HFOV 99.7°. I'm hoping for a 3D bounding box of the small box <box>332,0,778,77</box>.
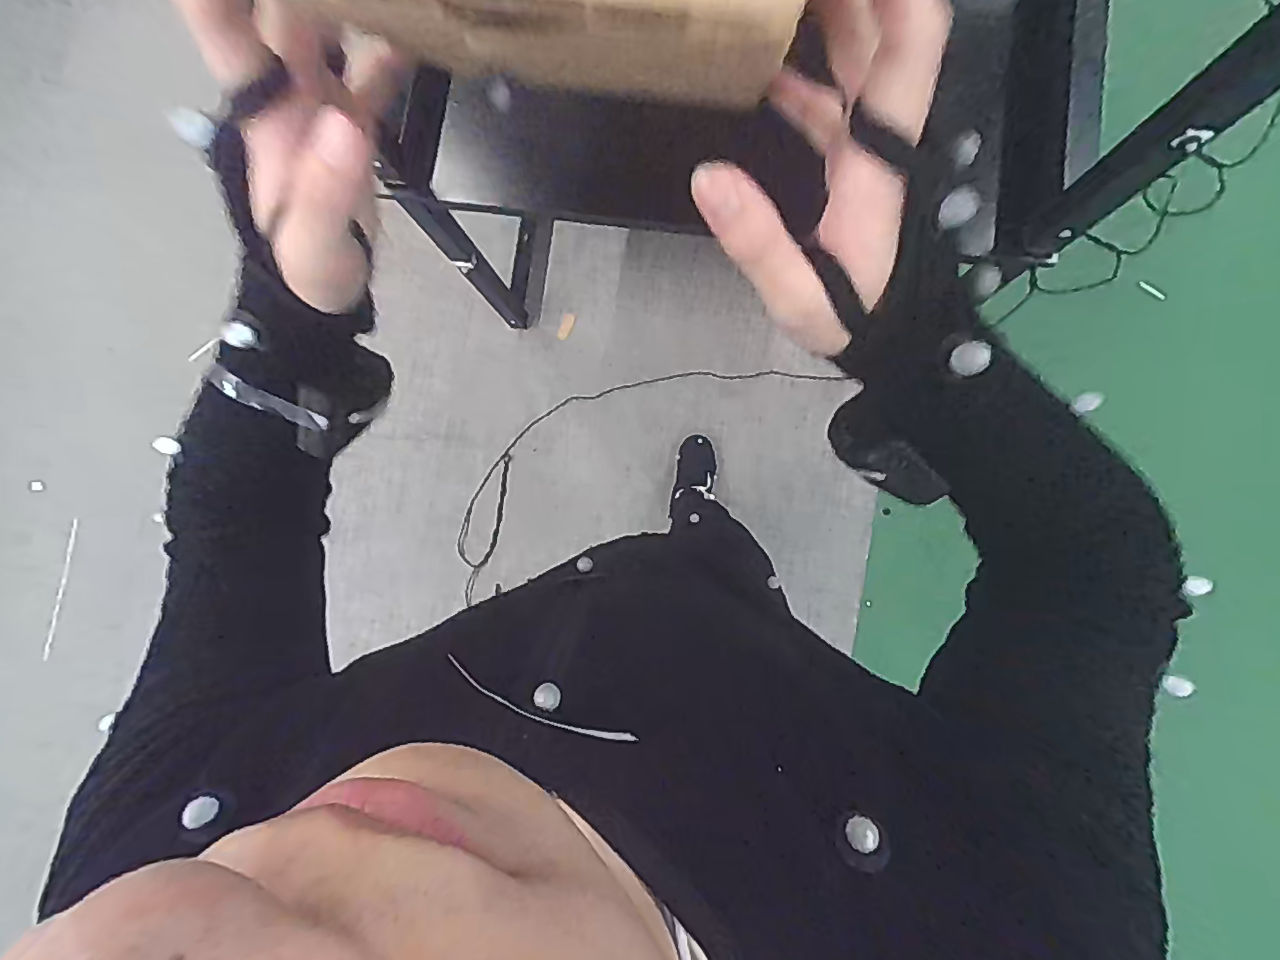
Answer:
[{"bbox_3d":[-0.023,-0.251,0.176,0.168,0.176,0.179,7,120,3],"label":"small box"}]
